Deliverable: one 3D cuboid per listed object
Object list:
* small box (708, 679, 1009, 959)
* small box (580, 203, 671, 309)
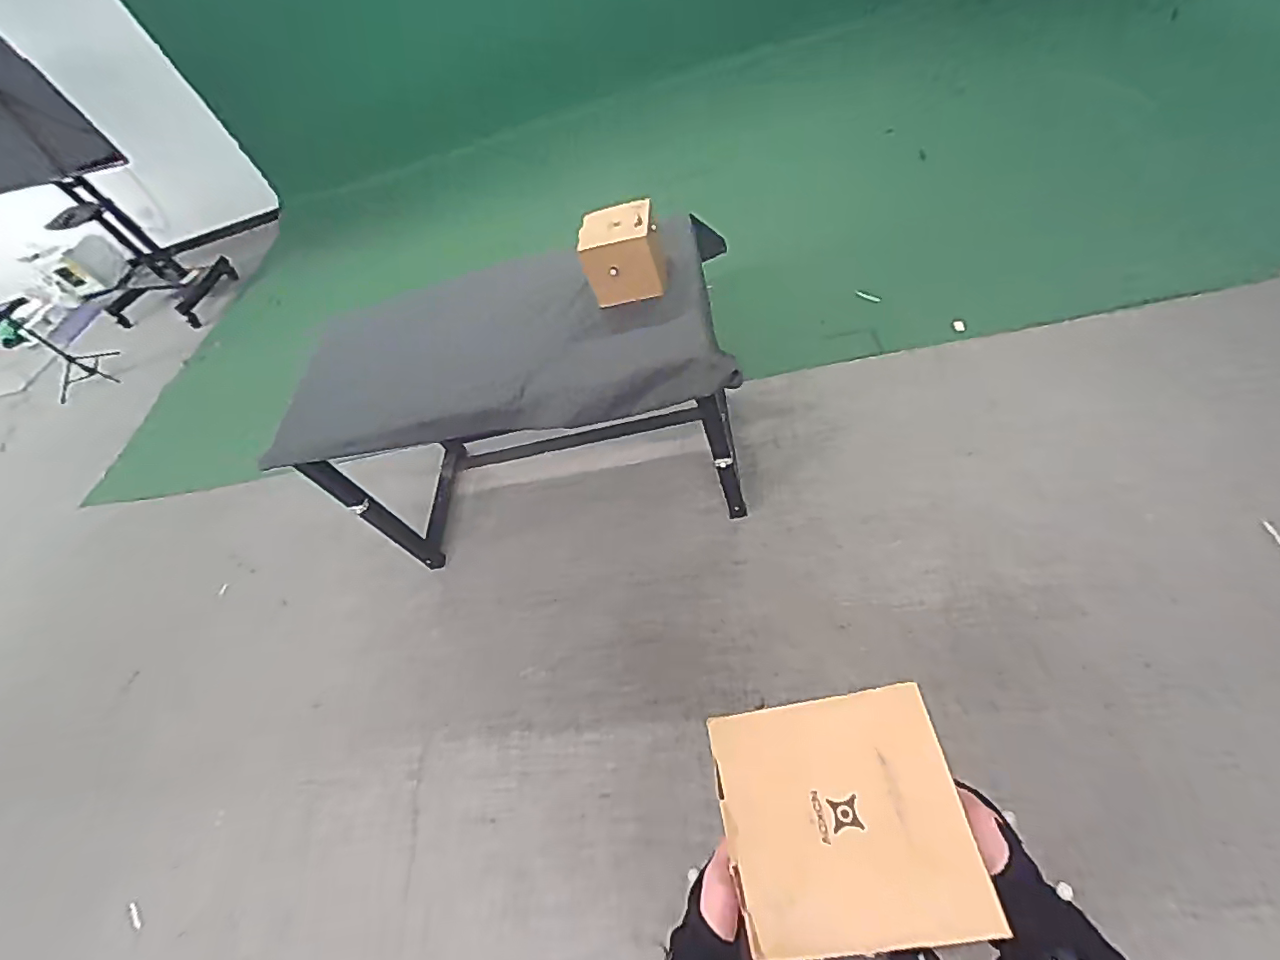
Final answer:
[{"bbox_3d":[0.174,0.286,0.481,0.179,0.176,0.168,-16,63,8],"label":"small box"},{"bbox_3d":[-0.031,-0.559,1.369,0.179,0.176,0.168,-7,54,17],"label":"small box"}]
